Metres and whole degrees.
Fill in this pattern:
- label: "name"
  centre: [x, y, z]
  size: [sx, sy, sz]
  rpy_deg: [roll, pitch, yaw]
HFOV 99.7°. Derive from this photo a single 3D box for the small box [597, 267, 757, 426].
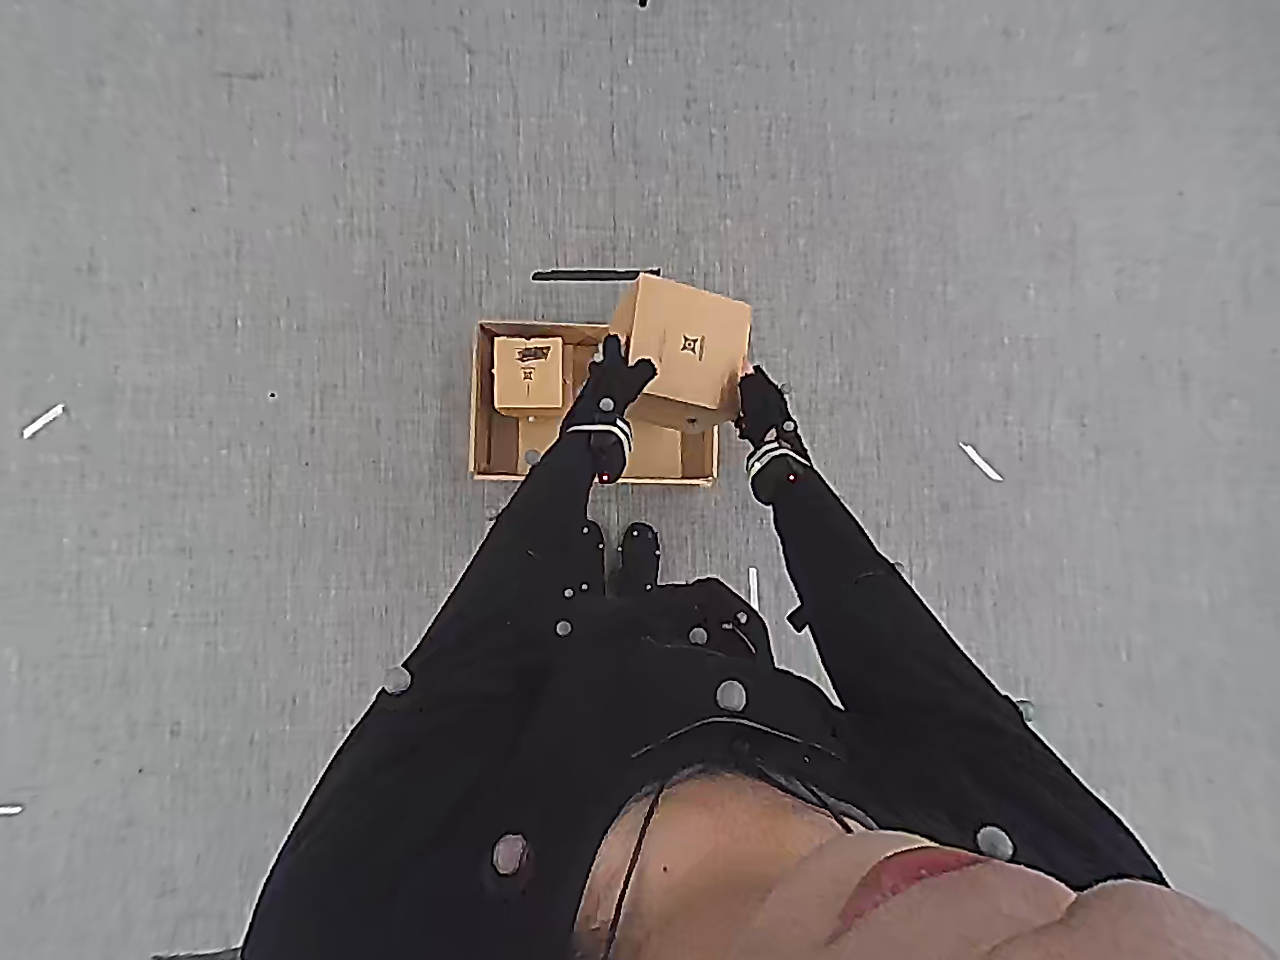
- label: "small box"
  centre: [0.048, -0.182, 0.802]
  size: [0.179, 0.176, 0.168]
  rpy_deg: [9, 83, -16]
